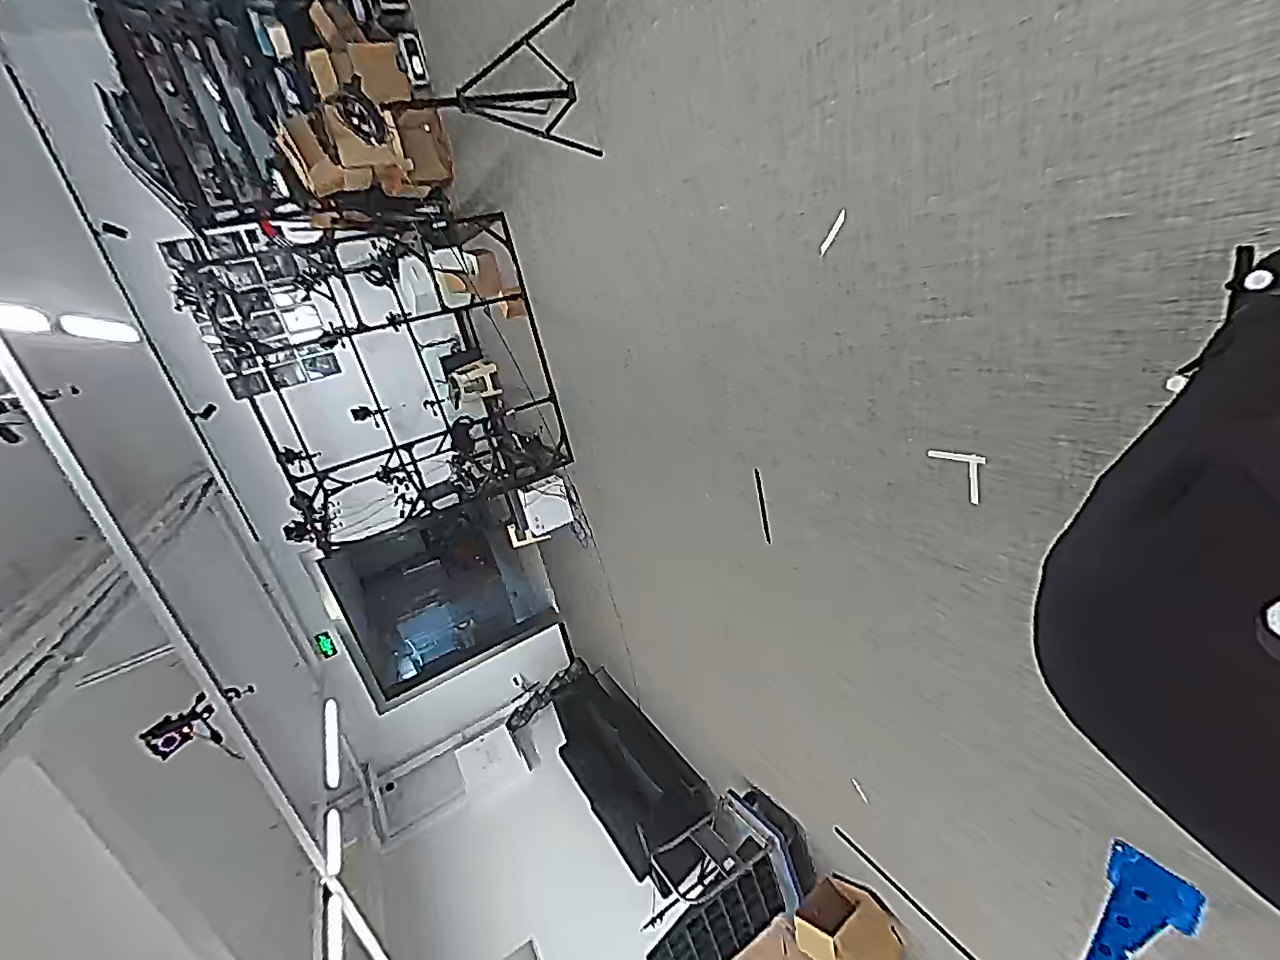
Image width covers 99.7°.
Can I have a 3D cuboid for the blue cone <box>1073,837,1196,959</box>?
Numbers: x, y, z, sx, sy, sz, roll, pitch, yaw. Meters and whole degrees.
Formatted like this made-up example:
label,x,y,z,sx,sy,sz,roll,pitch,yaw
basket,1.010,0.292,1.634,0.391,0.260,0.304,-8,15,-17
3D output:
label,x,y,z,sx,sy,sz,roll,pitch,yaw
blue cone,1.347,1.226,1.514,0.192,0.380,0.193,30,137,55
